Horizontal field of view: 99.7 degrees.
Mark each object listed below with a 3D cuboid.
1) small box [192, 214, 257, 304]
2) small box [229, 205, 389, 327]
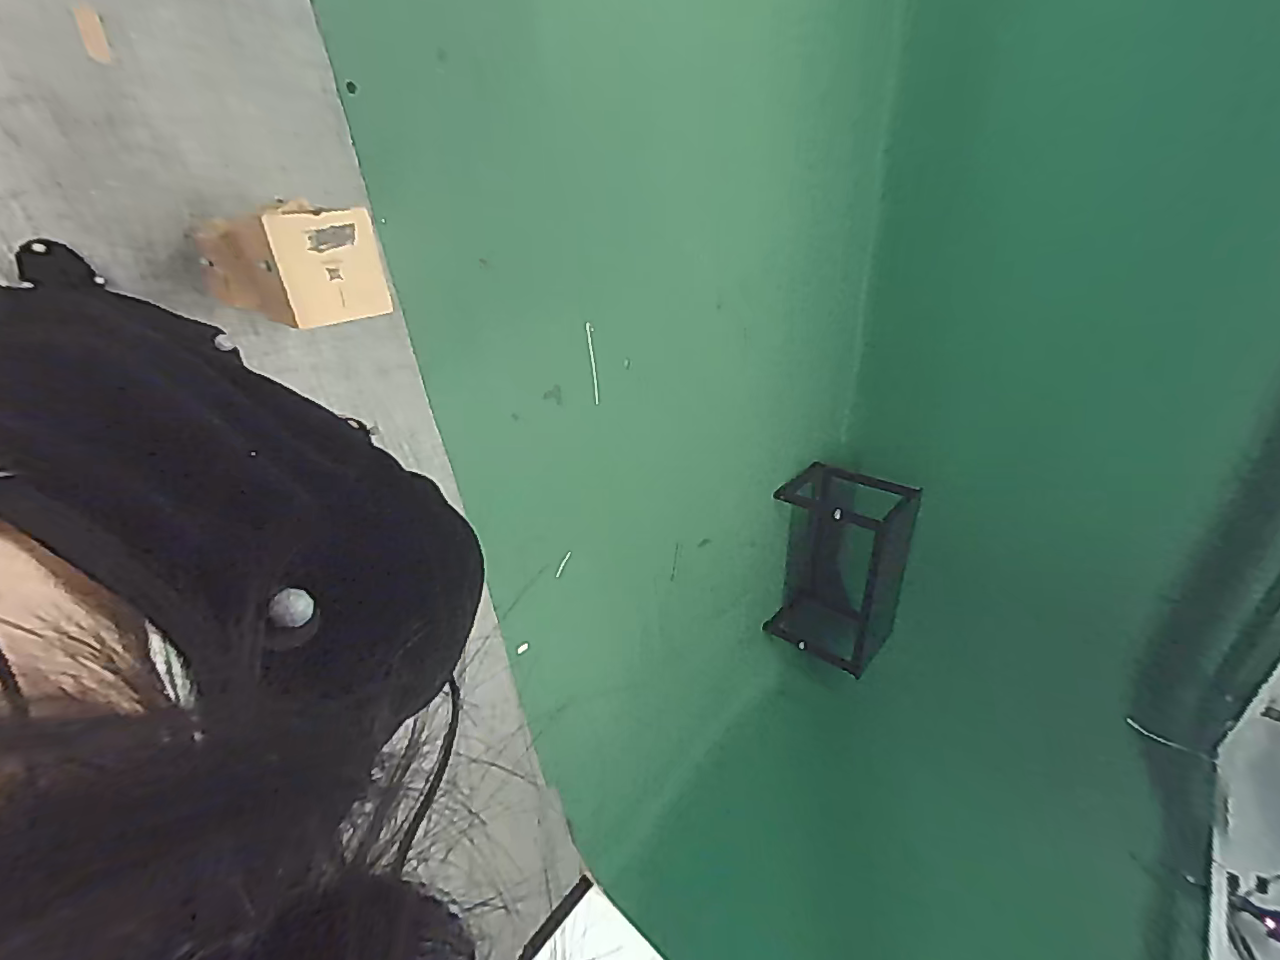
[{"bbox_3d":[-0.821,-0.465,1.150,0.179,0.176,0.168,-20,122,-44],"label":"small box"},{"bbox_3d":[-0.578,-0.378,0.946,0.168,0.176,0.179,-30,129,-40],"label":"small box"}]
